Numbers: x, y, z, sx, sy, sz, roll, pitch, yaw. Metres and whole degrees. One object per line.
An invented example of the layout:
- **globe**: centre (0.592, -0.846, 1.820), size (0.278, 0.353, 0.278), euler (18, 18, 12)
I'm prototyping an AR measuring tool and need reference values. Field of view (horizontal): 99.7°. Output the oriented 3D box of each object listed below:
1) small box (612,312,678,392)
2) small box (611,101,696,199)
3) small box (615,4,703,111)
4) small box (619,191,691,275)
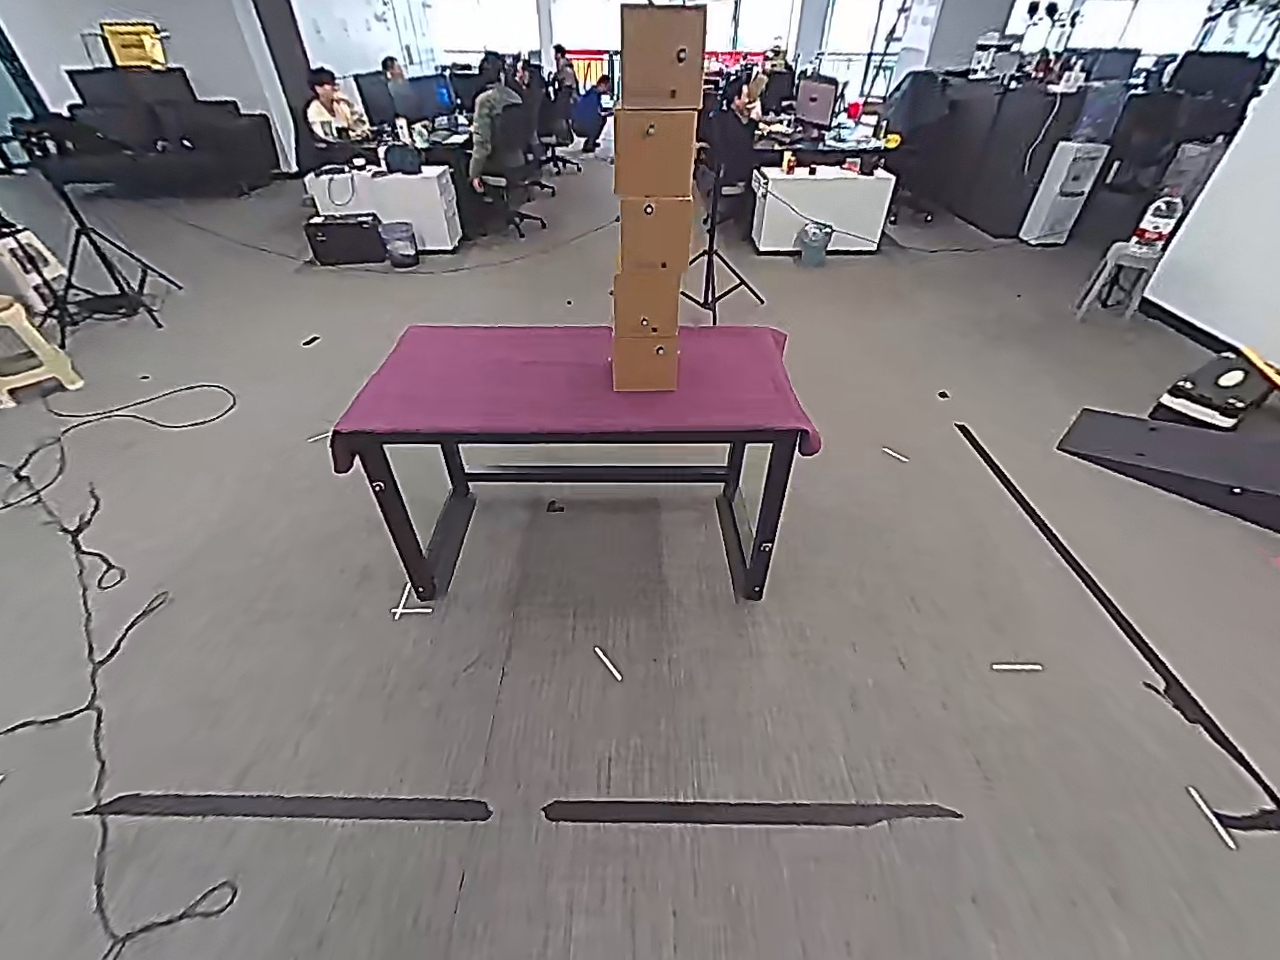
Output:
- **small box**: centre (0.011, -0.361, 1.527), size (0.179, 0.176, 0.168), euler (-1, 39, -1)
- **small box**: centre (0.024, -0.745, 1.223), size (0.179, 0.176, 0.168), euler (-2, 40, -2)
- **small box**: centre (0.034, -0.872, 1.122), size (0.168, 0.176, 0.179), euler (-2, 39, -4)
- **small box**: centre (0.031, -0.612, 1.318), size (0.168, 0.176, 0.179), euler (-1, 40, -1)
